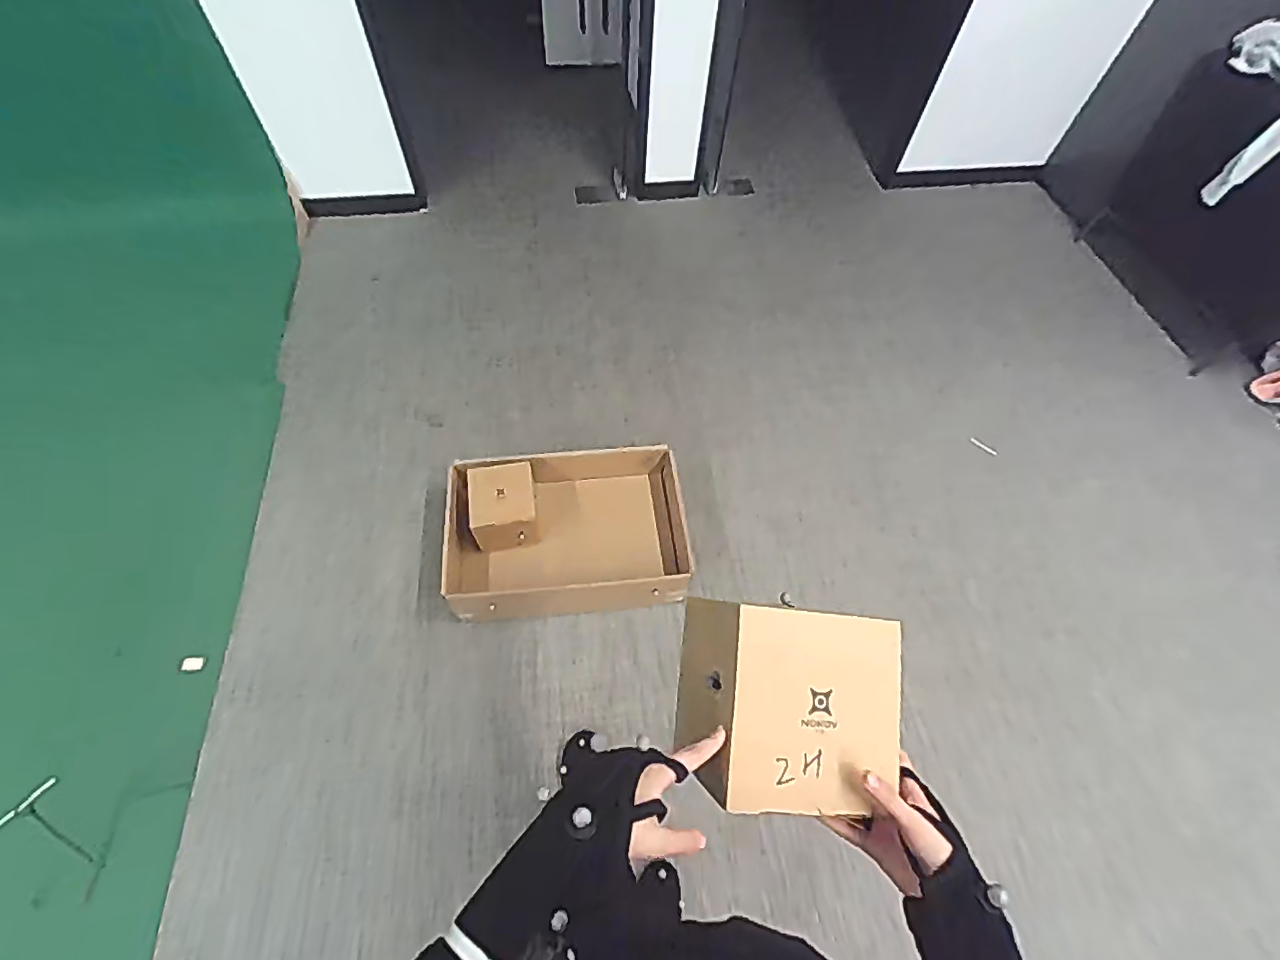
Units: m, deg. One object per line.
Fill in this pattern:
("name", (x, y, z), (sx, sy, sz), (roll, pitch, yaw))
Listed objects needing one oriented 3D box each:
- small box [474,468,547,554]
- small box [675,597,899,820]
("small box", (-0.349, 0.090, 1.467), (0.168, 0.176, 0.179), (-8, 60, -7))
("small box", (0.139, 0.218, 0.557), (0.168, 0.176, 0.179), (8, 80, -9))
